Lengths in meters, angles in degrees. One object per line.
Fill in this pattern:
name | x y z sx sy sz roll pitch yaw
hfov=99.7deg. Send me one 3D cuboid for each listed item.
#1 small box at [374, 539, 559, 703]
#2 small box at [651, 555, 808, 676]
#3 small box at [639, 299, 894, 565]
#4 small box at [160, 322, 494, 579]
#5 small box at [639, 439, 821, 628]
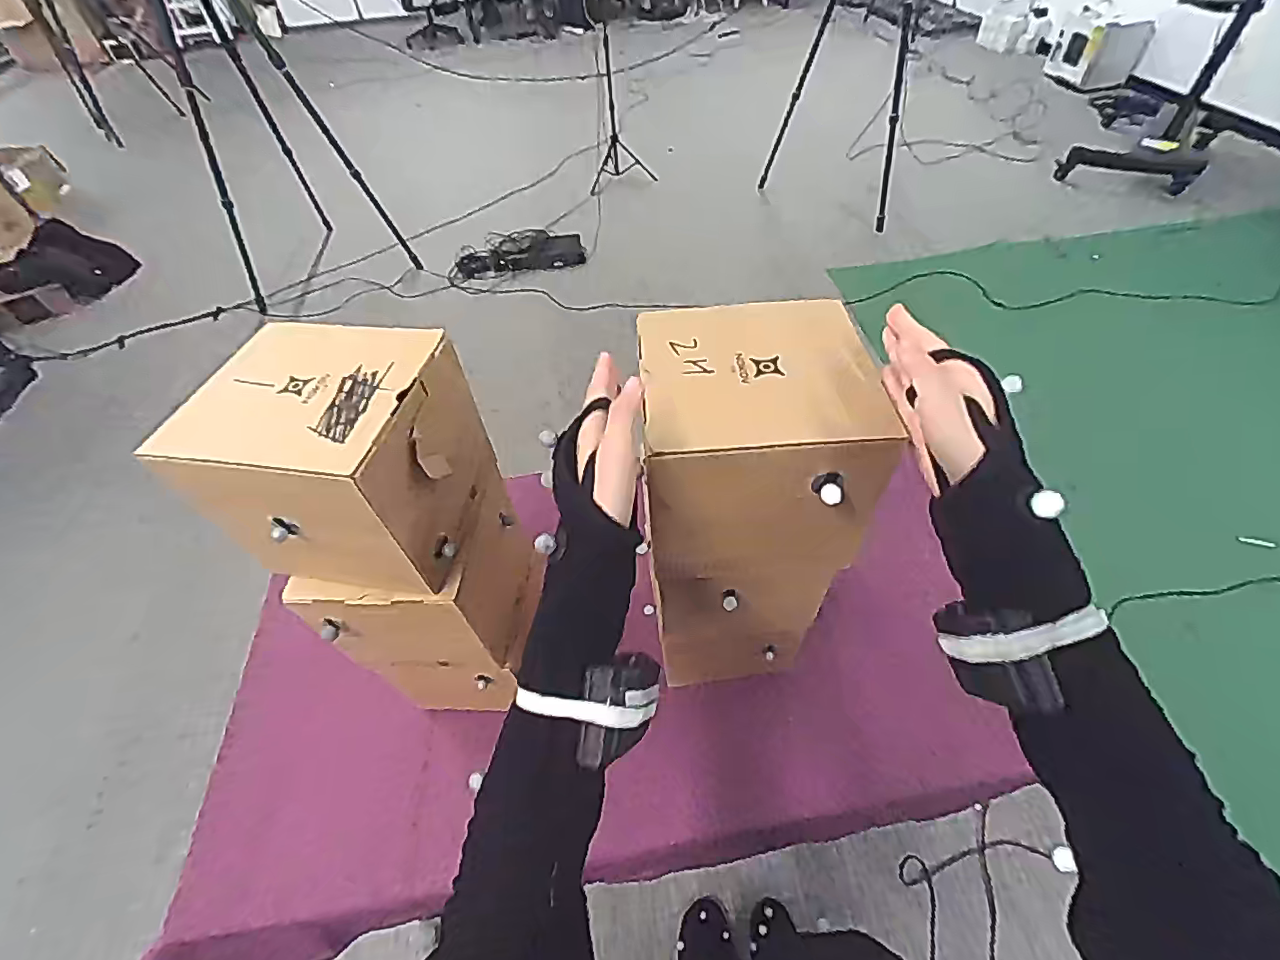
small box | -0.221 0.196 0.743 0.179 0.176 0.168 0 50 4
small box | 0.110 0.154 0.750 0.179 0.176 0.168 -8 49 -1
small box | 0.091 -0.038 0.483 0.179 0.176 0.168 -4 49 1
small box | -0.256 -0.024 0.500 0.179 0.176 0.168 5 50 9
small box | 0.098 0.056 0.619 0.179 0.176 0.168 -7 50 0
